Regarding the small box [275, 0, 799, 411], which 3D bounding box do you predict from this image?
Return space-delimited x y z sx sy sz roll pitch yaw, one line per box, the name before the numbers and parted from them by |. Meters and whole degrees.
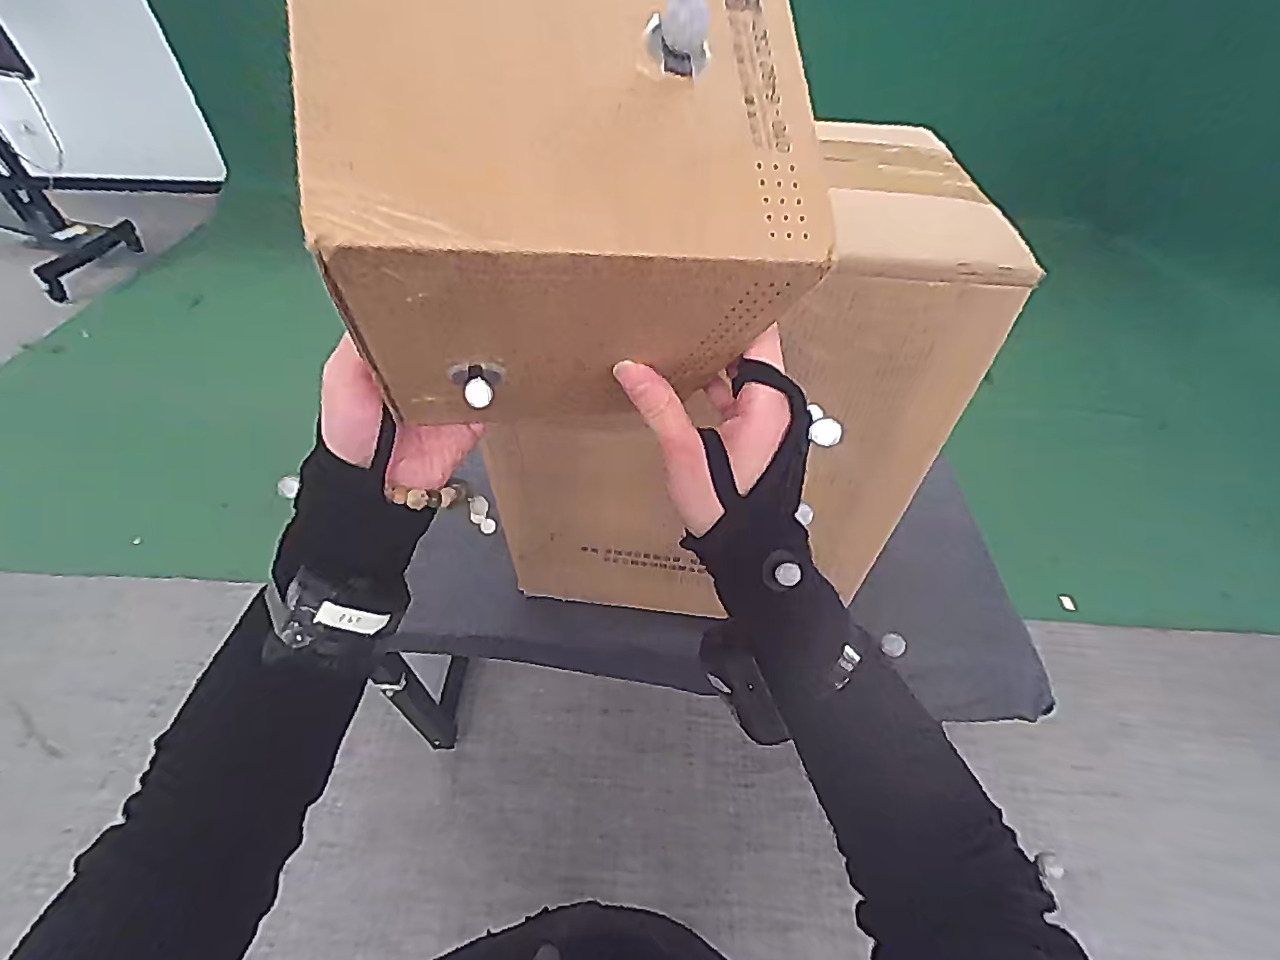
small box | -0.048 -0.135 0.262 0.176 0.179 0.168 -8 86 -16
